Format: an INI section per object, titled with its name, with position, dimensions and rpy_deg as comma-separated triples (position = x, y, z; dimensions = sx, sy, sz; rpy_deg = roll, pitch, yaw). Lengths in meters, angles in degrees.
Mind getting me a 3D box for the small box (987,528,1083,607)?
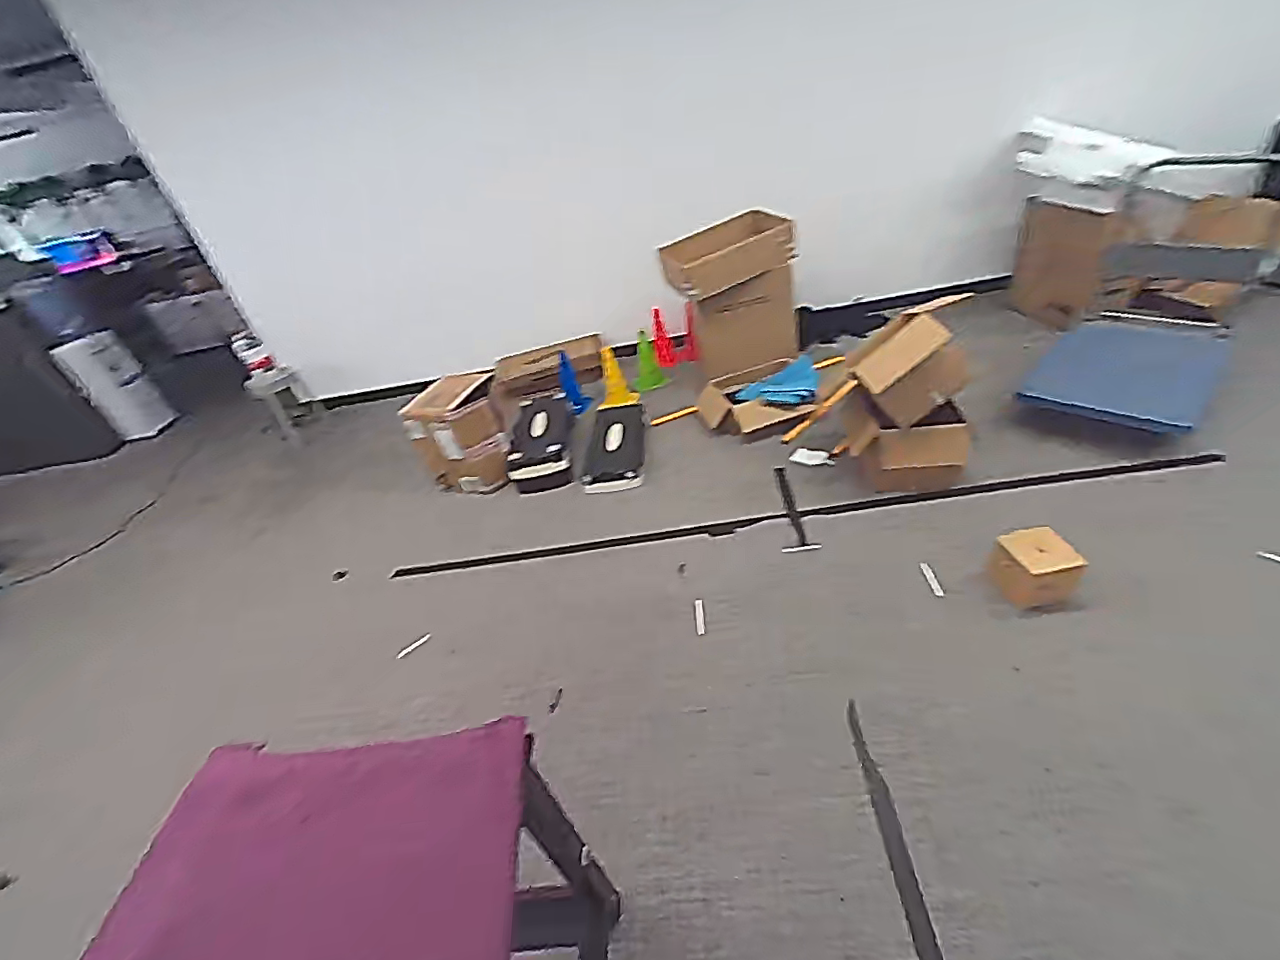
[small box]
position = 1.241, 0.283, 1.713
dimensions = 0.168, 0.176, 0.179
rpy_deg = -13, 35, 1
